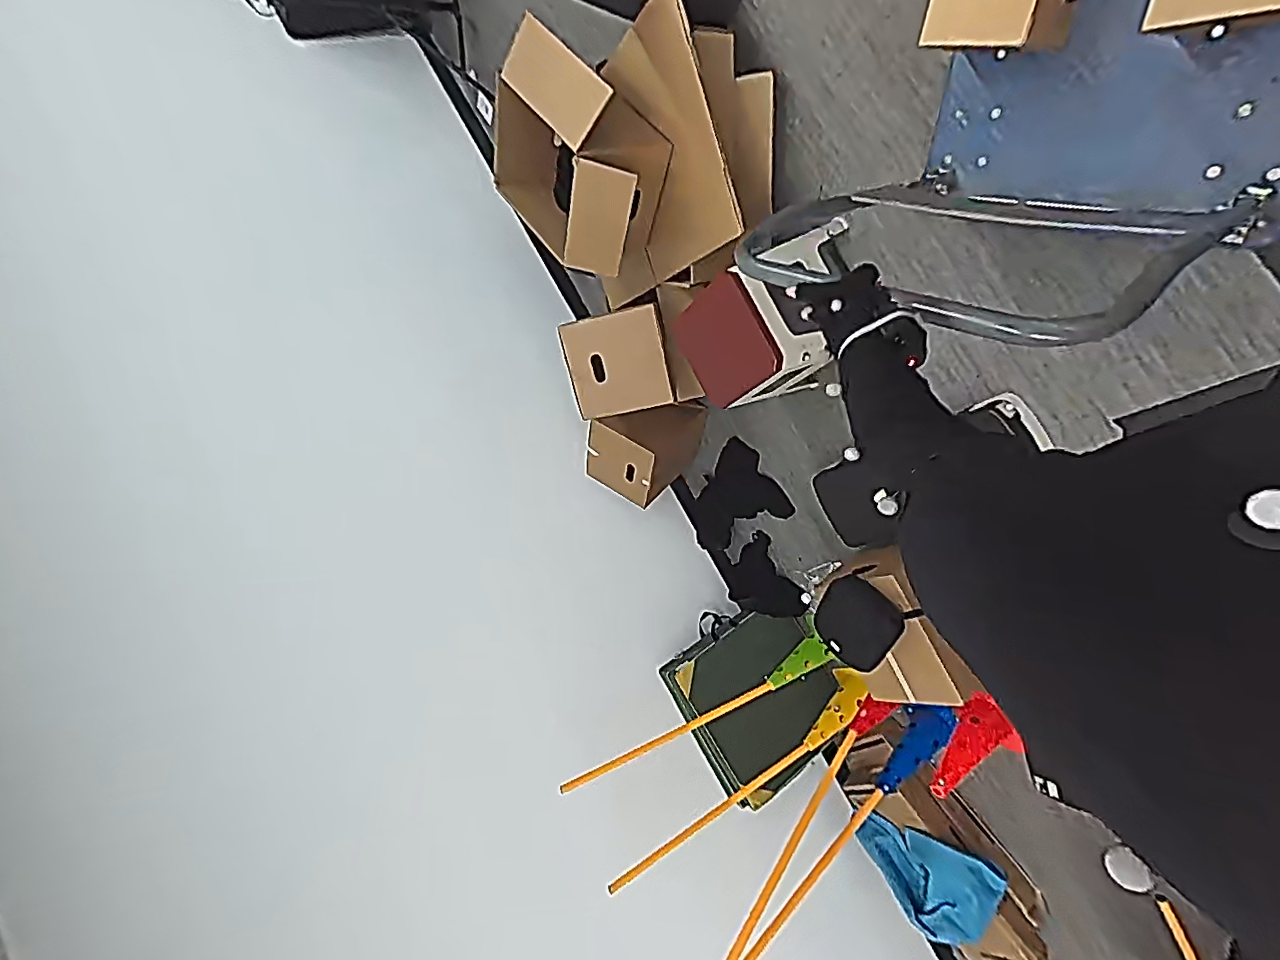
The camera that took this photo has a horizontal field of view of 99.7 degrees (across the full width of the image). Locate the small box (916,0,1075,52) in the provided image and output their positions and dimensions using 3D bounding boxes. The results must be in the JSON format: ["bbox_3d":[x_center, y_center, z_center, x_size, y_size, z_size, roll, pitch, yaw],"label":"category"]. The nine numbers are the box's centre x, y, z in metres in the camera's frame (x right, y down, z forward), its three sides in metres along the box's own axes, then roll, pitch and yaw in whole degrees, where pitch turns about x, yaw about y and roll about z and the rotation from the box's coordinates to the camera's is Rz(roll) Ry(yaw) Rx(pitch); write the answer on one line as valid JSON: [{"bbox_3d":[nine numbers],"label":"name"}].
[{"bbox_3d":[0.604,-0.817,0.893,0.179,0.176,0.168,36,139,36],"label":"small box"}]

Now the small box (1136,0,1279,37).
[{"bbox_3d":[0.800,-0.687,0.692,0.179,0.176,0.168,31,136,43],"label":"small box"}]
